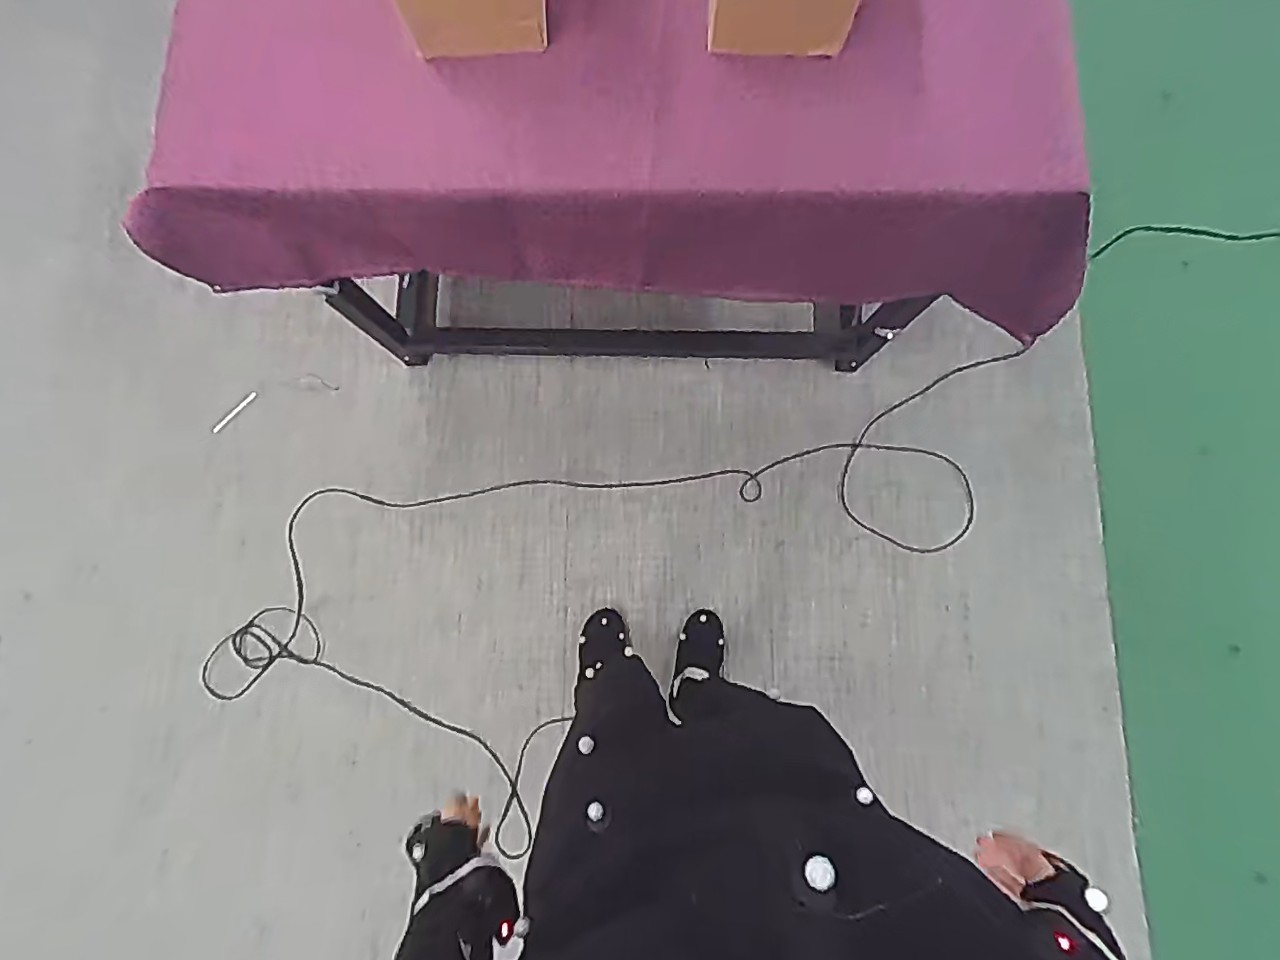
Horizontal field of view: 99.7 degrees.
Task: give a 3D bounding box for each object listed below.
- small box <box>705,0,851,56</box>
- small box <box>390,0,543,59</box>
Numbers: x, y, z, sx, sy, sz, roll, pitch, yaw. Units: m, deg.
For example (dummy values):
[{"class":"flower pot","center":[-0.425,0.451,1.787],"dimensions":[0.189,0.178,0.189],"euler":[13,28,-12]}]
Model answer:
[{"class":"small box","center":[0.173,-0.654,0.648],"dimensions":[0.179,0.176,0.168],"euler":[2,83,1]},{"class":"small box","center":[-0.223,-0.656,0.658],"dimensions":[0.179,0.176,0.168],"euler":[-4,82,-1]}]
